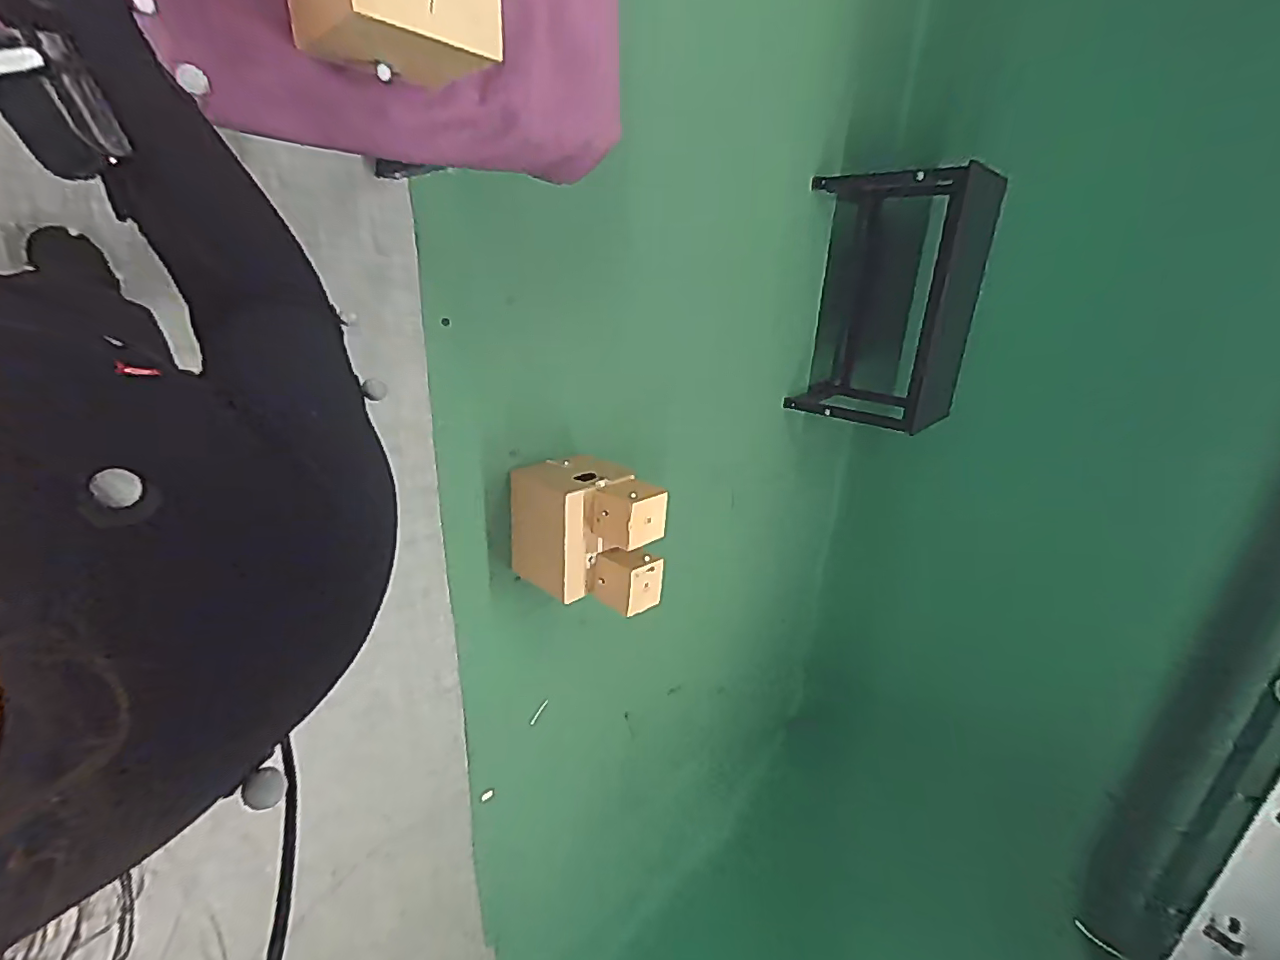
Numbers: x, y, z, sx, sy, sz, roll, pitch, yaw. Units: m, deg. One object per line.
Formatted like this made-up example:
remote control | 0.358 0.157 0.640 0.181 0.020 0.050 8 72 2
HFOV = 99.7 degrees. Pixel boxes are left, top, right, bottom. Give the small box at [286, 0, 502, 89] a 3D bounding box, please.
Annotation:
small box | -0.267 -0.552 0.574 0.168 0.176 0.179 -18 119 -44

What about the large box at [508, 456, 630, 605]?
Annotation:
large box | -0.255 0.163 1.936 0.320 0.320 0.408 -17 118 -44

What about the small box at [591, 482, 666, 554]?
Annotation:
small box | -0.038 0.117 1.783 0.179 0.176 0.168 -17 118 -45

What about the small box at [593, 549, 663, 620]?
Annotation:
small box | -0.047 0.351 1.868 0.168 0.176 0.179 -11 113 -47
